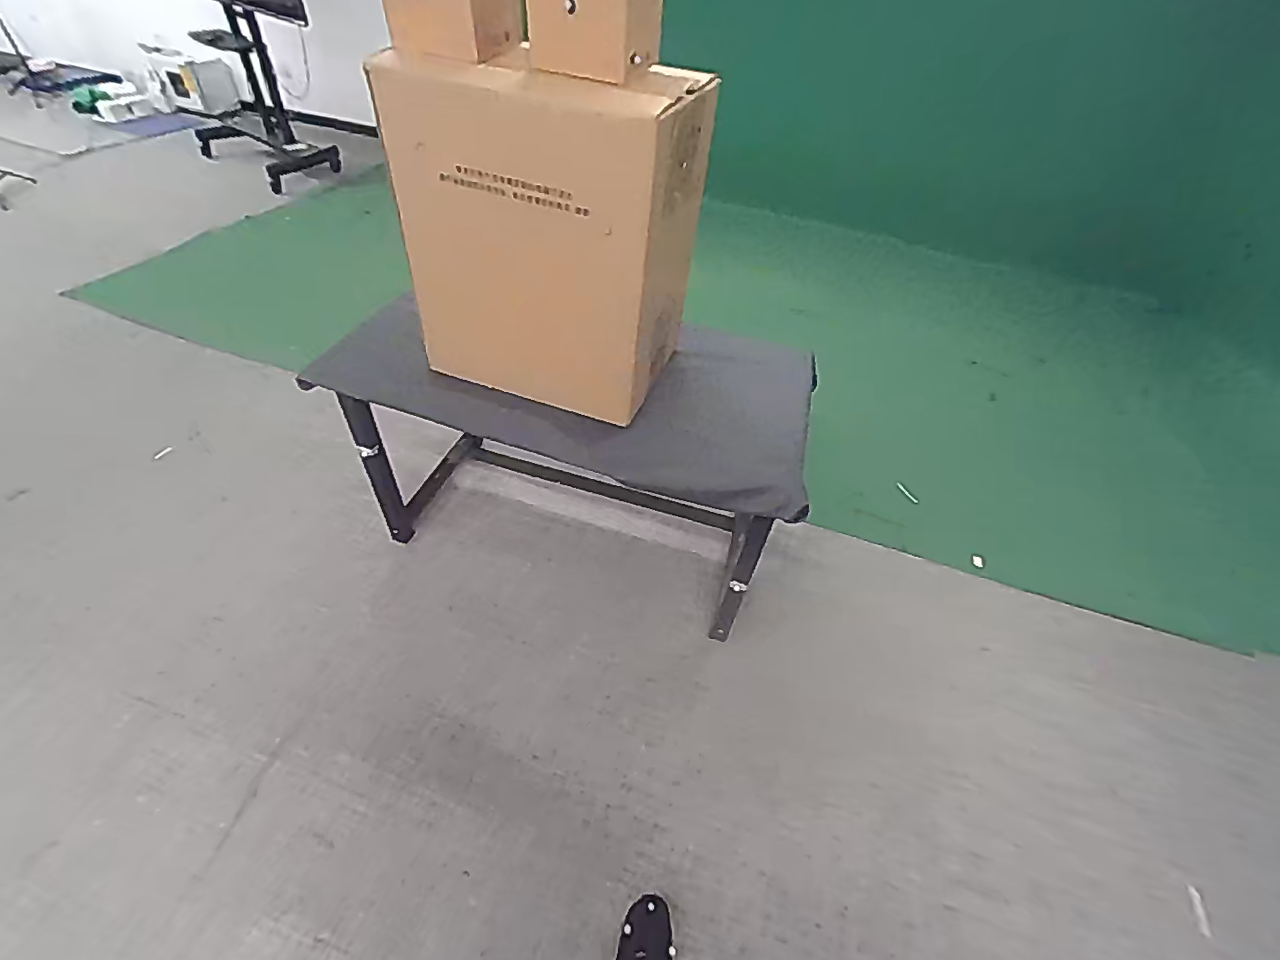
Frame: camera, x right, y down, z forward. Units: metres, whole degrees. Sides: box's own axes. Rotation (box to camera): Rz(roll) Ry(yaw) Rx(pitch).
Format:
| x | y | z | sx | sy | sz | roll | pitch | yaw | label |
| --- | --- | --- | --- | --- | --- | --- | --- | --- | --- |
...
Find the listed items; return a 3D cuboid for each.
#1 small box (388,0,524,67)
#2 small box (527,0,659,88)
| x | y | z | sx | sy | sz | roll | pitch | yaw | label |
| --- | --- | --- | --- | --- | --- | --- | --- | --- | --- |
| -0.320 | -0.836 | 0.930 | 0.179 | 0.176 | 0.168 | 18 | 51 | 11 | small box |
| -0.071 | -0.777 | 0.897 | 0.179 | 0.176 | 0.168 | 18 | 52 | 12 | small box |
